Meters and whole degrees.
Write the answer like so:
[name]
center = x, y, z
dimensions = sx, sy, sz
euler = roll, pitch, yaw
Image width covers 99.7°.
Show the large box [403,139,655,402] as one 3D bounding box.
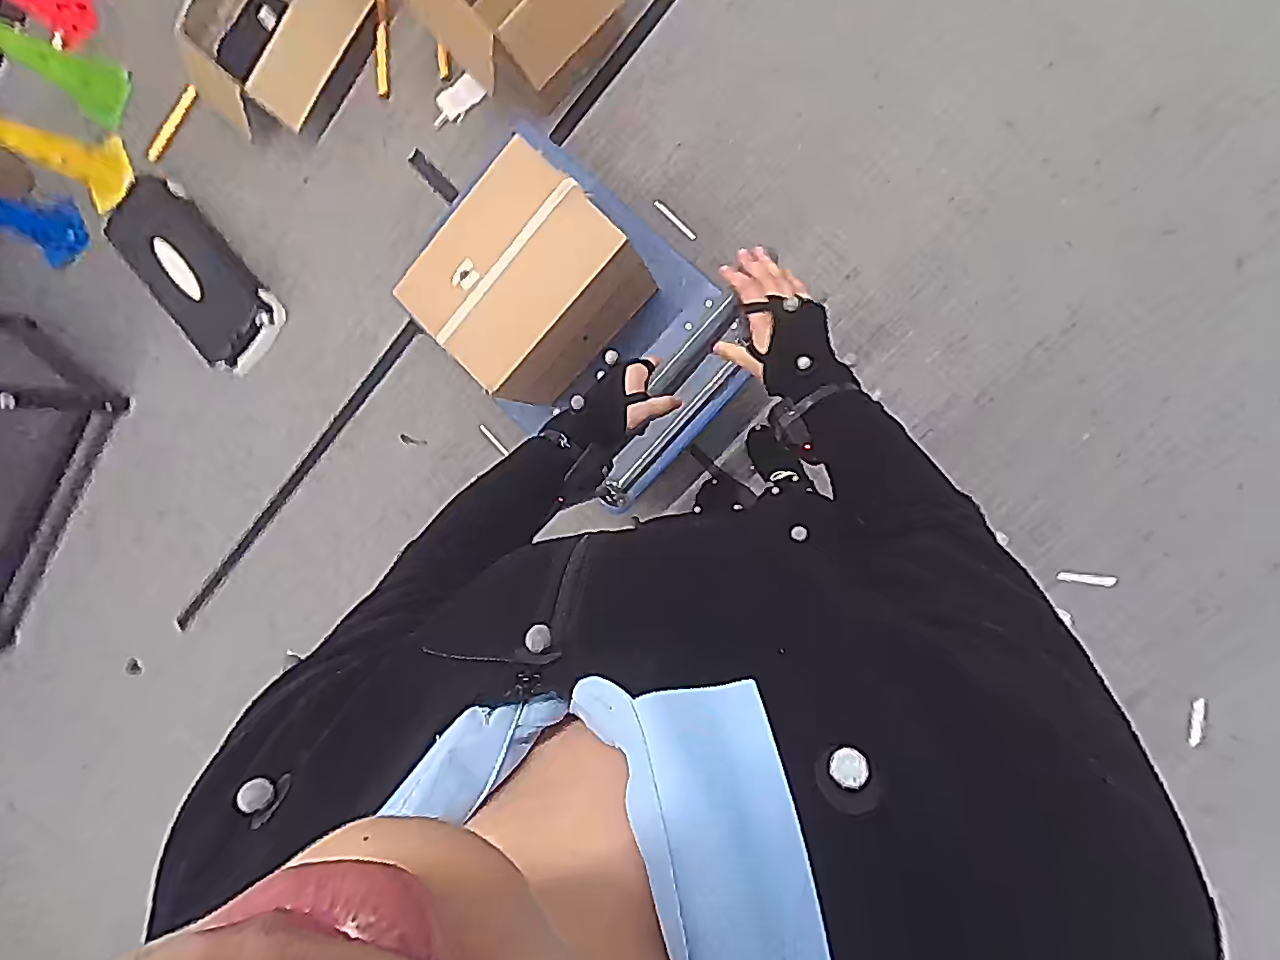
[large box]
center = -0.226, -0.430, 1.215
dimensions = 0.320, 0.320, 0.408
euler = 45, 102, 8
